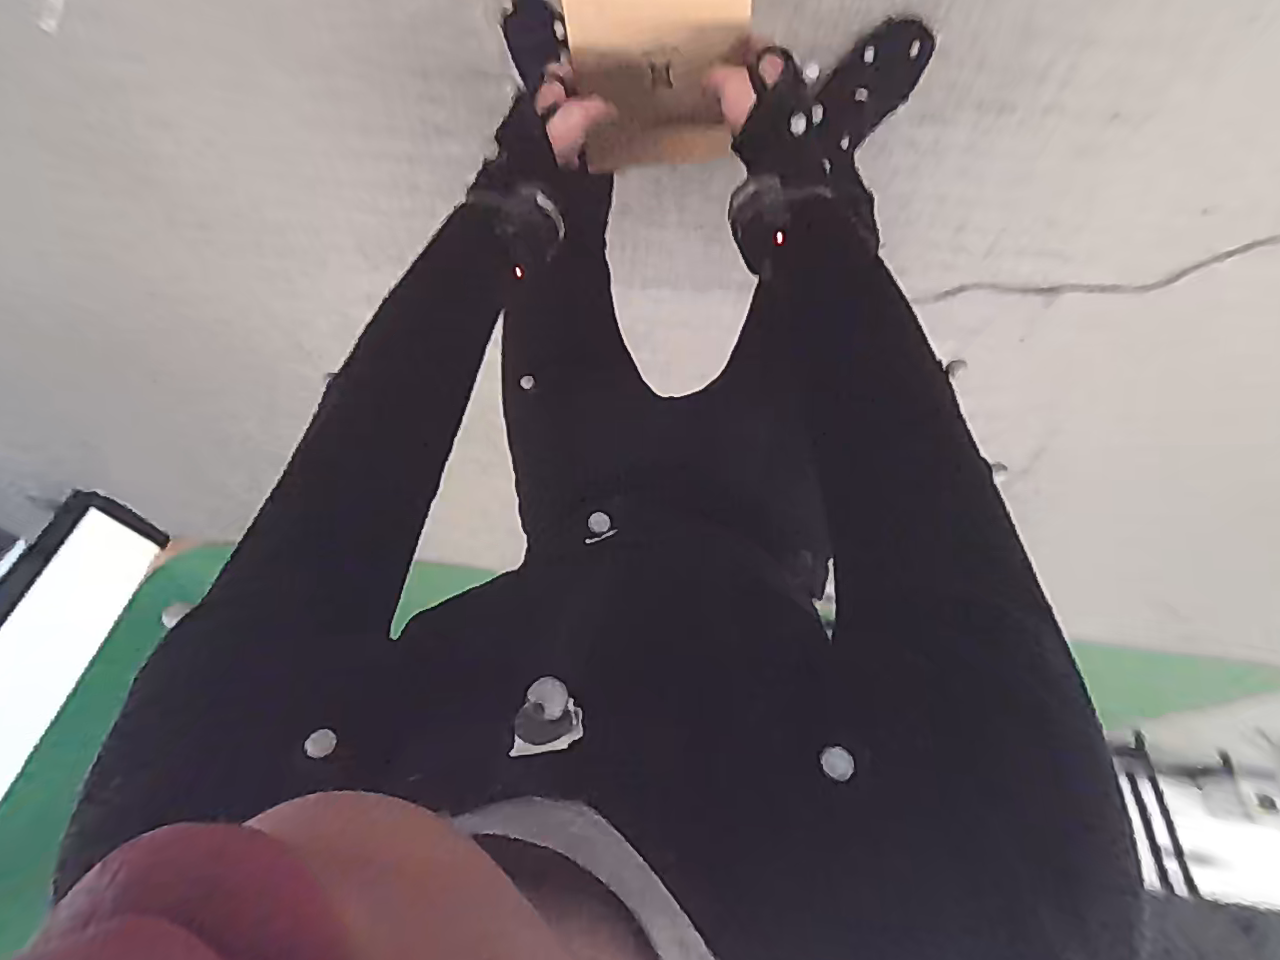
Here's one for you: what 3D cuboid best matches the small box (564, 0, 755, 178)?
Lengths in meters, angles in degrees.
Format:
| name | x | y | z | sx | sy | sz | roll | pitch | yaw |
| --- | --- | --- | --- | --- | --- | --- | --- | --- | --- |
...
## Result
| name | x | y | z | sx | sy | sz | roll | pitch | yaw |
| --- | --- | --- | --- | --- | --- | --- | --- | --- | --- |
| small box | 0.020 | -0.442 | 0.547 | 0.168 | 0.176 | 0.179 | -2 | 148 | 5 |
